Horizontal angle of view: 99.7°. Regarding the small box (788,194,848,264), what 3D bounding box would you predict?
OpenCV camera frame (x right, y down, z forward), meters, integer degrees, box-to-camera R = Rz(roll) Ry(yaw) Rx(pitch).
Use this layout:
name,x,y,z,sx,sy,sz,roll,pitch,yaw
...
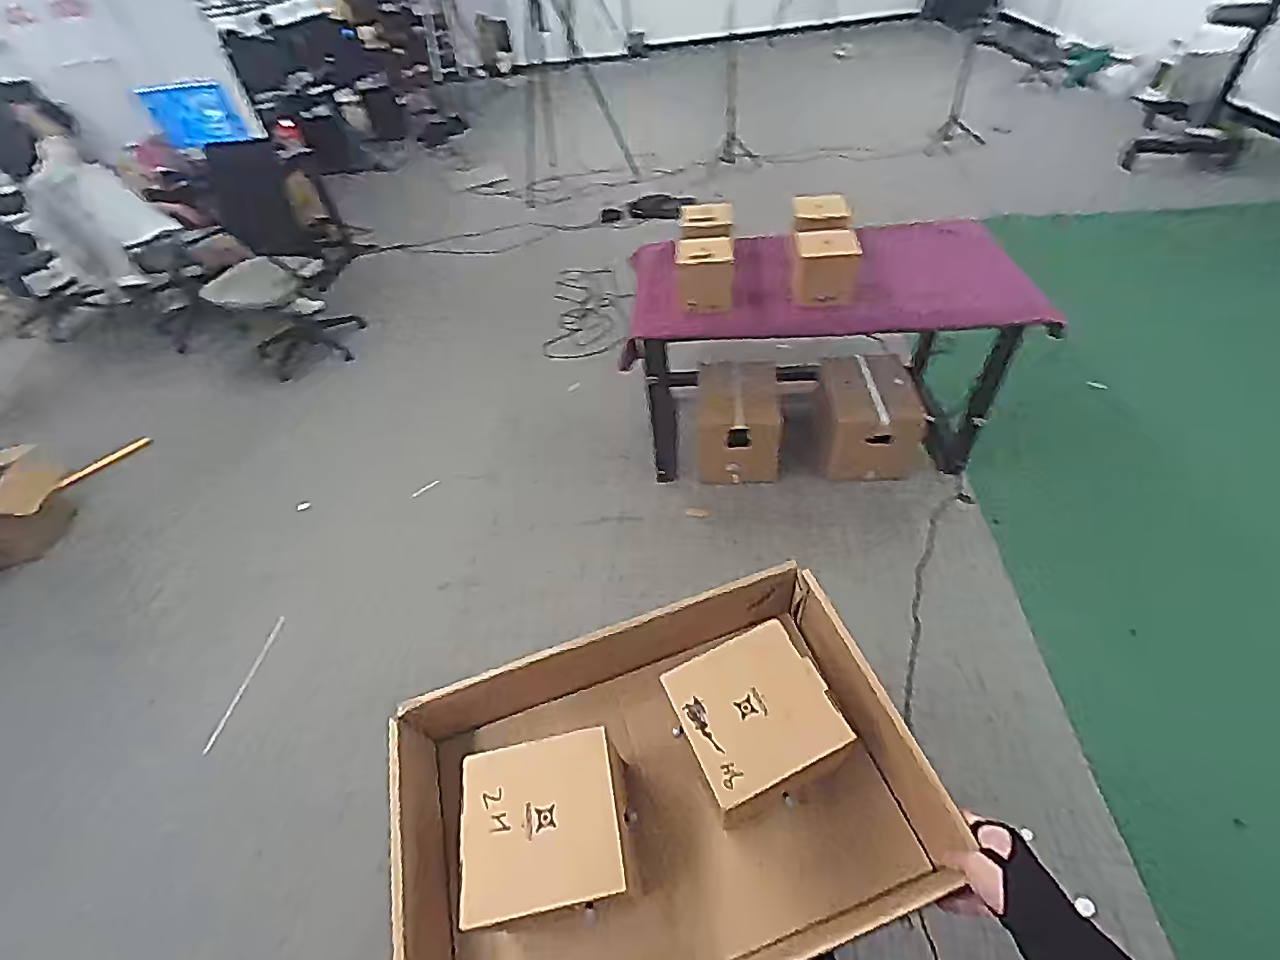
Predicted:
name,x,y,z,sx,sy,sz,roll,pitch,yaw
small box,0.599,-0.850,1.842,0.168,0.176,0.179,1,48,9

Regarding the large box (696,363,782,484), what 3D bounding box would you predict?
name,x,y,z,sx,sy,sz,roll,pitch,yaw
large box,0.392,-0.231,2.204,0.320,0.320,0.408,-1,46,8

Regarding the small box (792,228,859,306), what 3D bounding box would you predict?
name,x,y,z,sx,sy,sz,roll,pitch,yaw
small box,0.561,-0.651,1.657,0.168,0.176,0.179,0,46,10

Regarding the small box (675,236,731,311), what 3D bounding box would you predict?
name,x,y,z,sx,sy,sz,roll,pitch,yaw
small box,0.202,-0.646,1.707,0.168,0.176,0.179,-1,45,7
